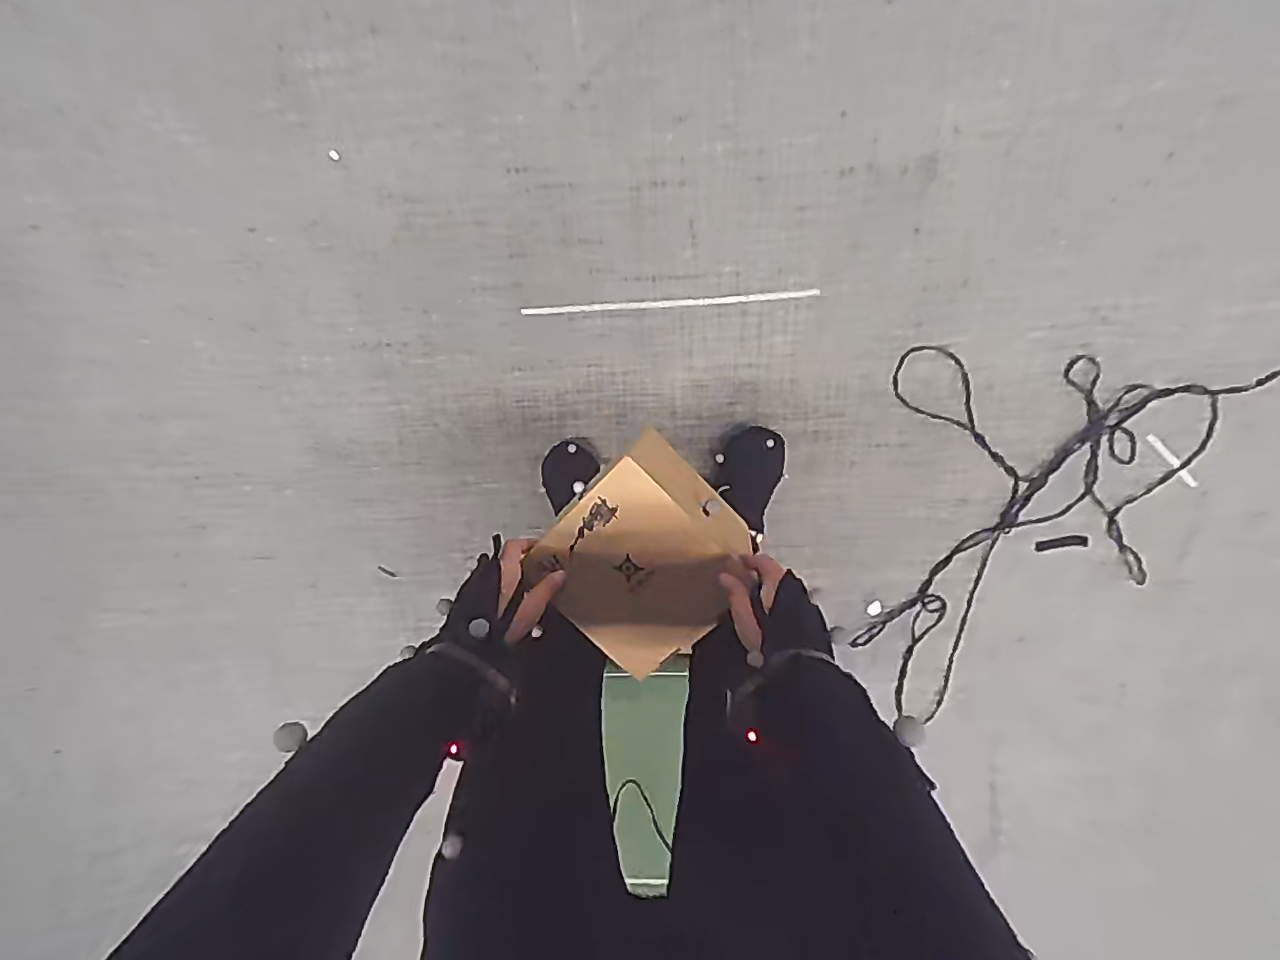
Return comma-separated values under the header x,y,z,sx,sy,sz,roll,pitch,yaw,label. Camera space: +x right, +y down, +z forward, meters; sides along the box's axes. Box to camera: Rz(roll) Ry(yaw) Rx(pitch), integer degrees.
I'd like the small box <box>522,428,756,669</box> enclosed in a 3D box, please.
x,y,z,sx,sy,sz,roll,pitch,yaw,label
0.006,0.063,0.603,0.179,0.176,0.168,44,106,-6,small box
